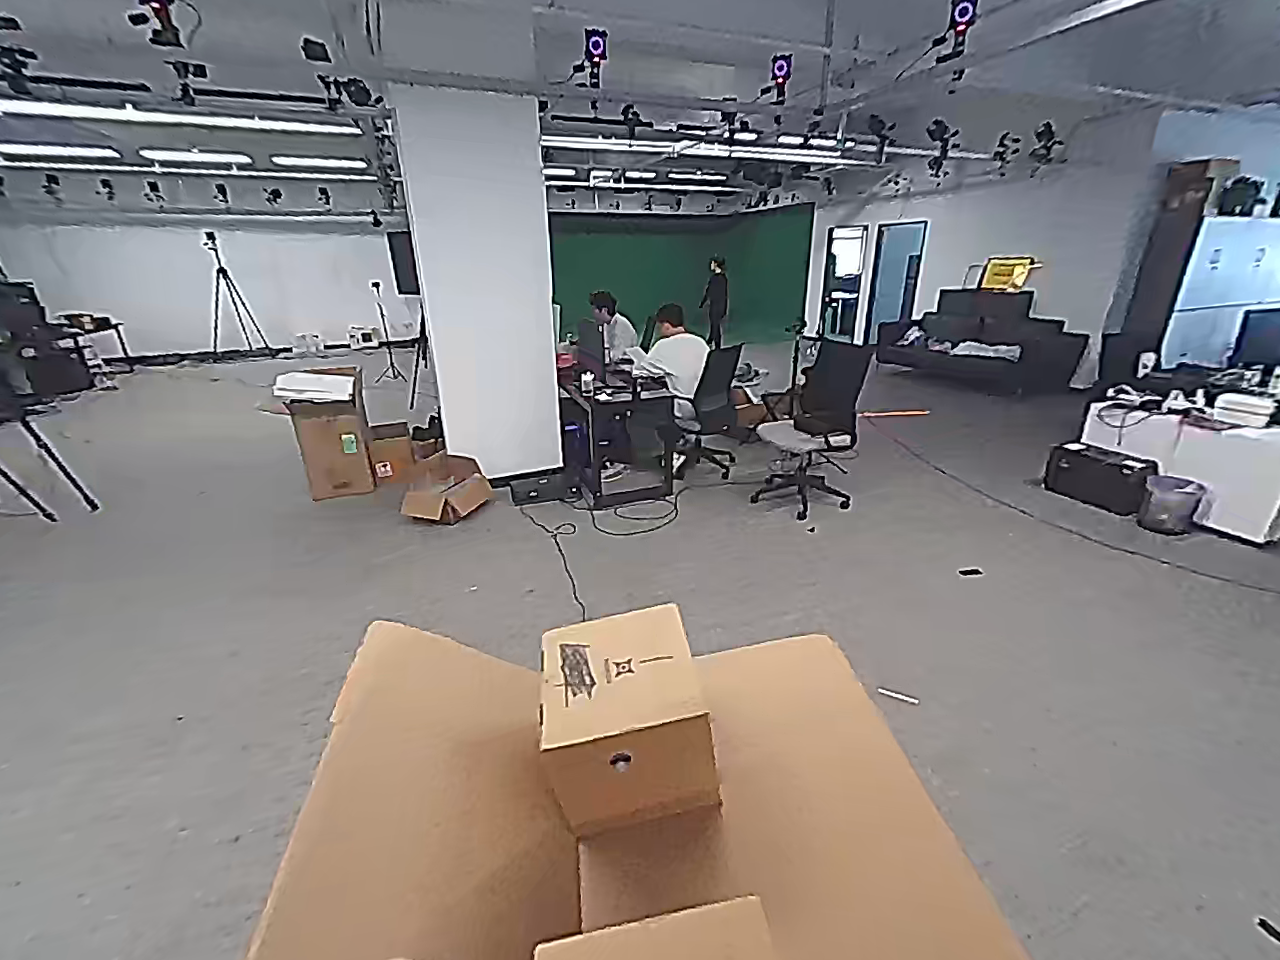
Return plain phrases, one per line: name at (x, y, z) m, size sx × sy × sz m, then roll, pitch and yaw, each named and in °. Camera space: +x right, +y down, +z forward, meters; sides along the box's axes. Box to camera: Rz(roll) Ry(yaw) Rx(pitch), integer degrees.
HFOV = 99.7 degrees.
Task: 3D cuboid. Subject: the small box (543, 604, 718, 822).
small box at (-0.012, 0.286, 0.668) m, size 0.179 × 0.176 × 0.168 m, roll -12°, pitch 31°, yaw -3°
